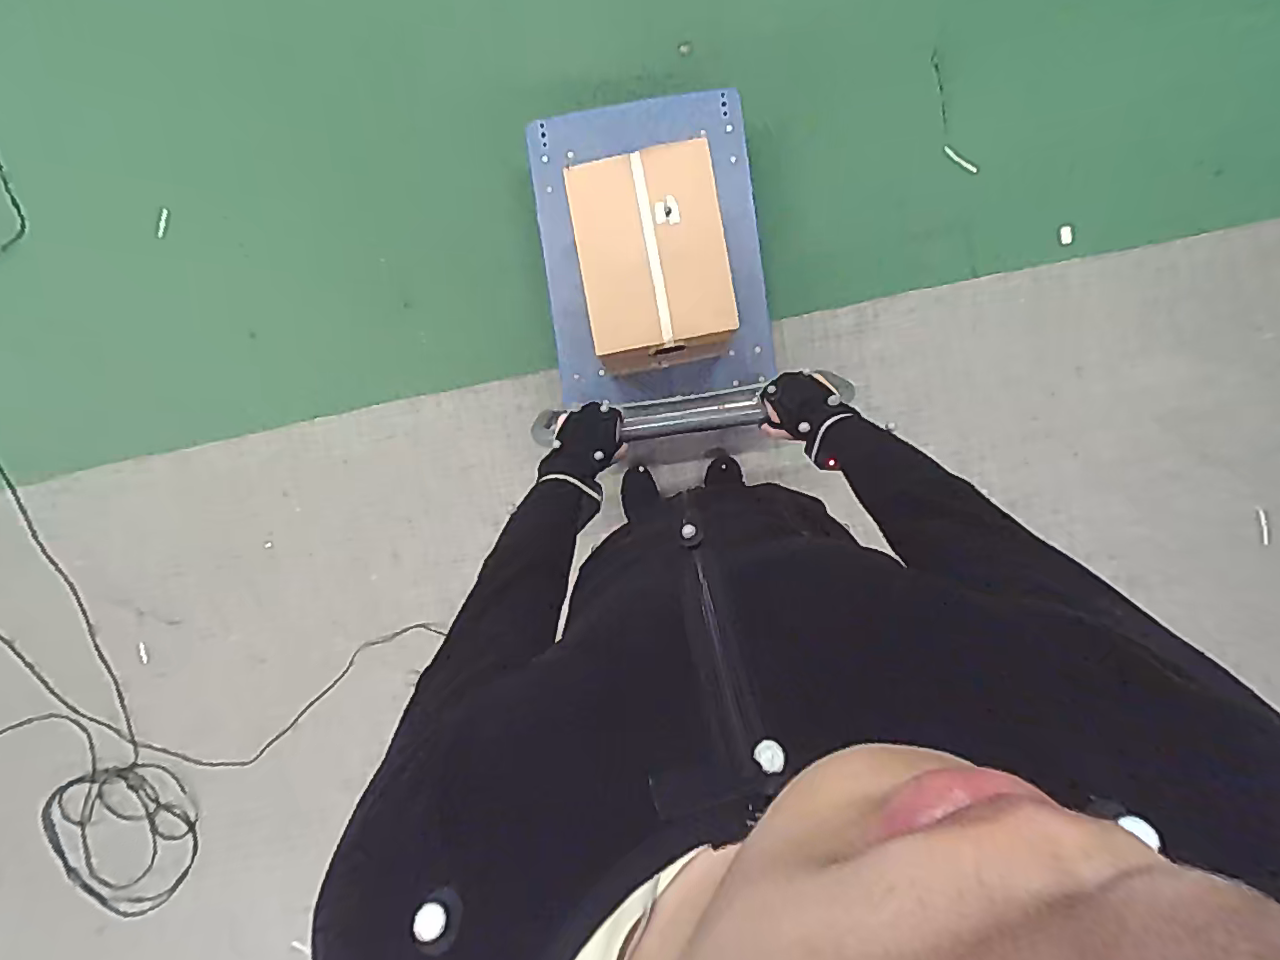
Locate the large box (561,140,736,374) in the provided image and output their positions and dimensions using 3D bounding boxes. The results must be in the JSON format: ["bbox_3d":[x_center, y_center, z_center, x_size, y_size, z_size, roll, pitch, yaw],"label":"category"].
[{"bbox_3d":[0.028,-0.500,1.300,0.320,0.320,0.408,-10,92,3],"label":"large box"}]
